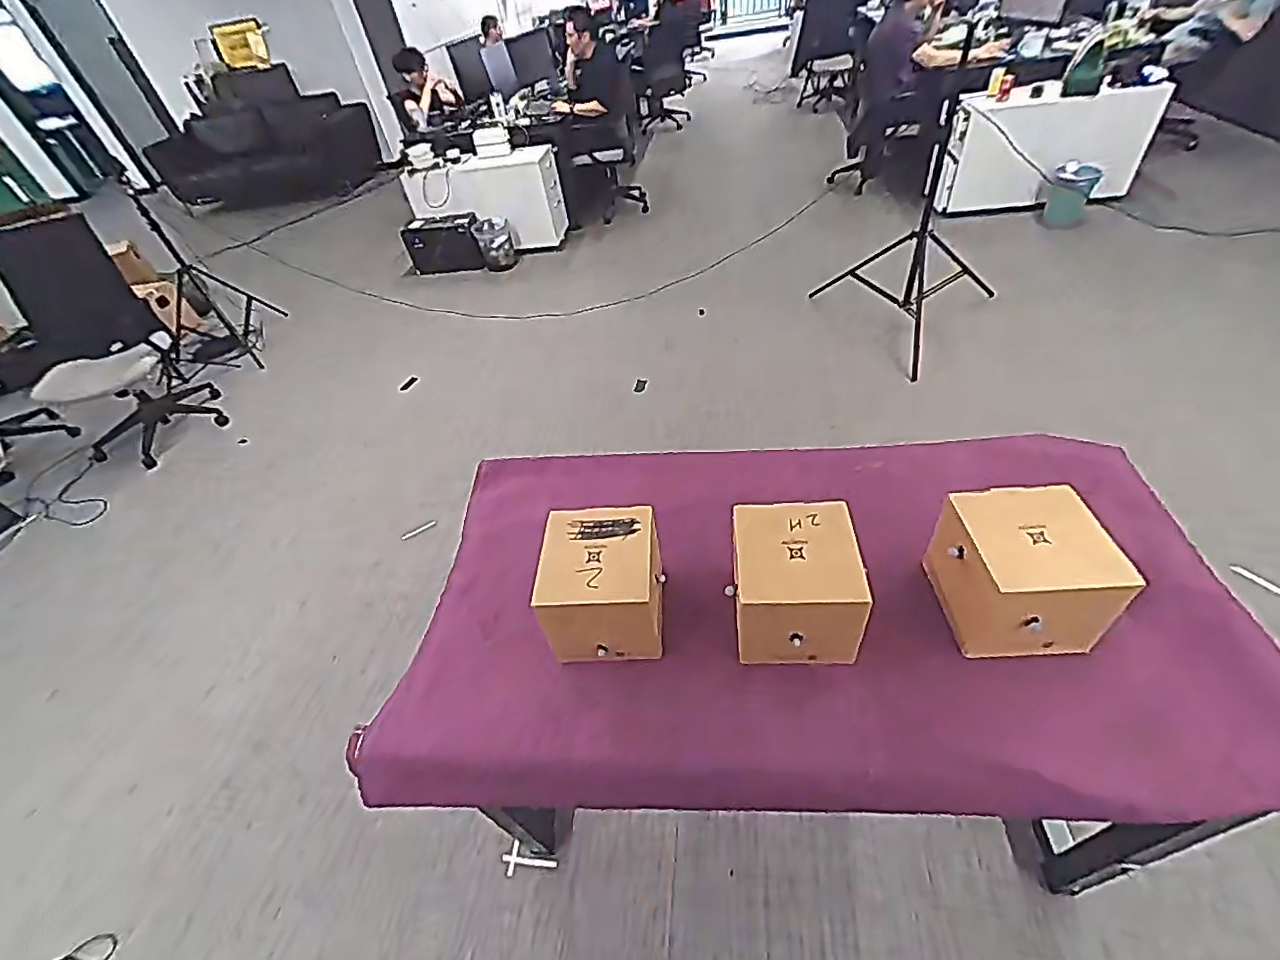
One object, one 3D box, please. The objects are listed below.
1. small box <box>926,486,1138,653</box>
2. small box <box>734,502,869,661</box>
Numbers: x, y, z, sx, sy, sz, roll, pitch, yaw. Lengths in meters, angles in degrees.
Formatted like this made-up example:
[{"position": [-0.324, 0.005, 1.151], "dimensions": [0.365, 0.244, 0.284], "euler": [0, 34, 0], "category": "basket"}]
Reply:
[{"position": [0.535, 0.133, 0.771], "dimensions": [0.168, 0.176, 0.179], "euler": [-5, 43, 7], "category": "small box"}, {"position": [0.228, 0.154, 0.807], "dimensions": [0.168, 0.176, 0.179], "euler": [-2, 44, 8], "category": "small box"}]
